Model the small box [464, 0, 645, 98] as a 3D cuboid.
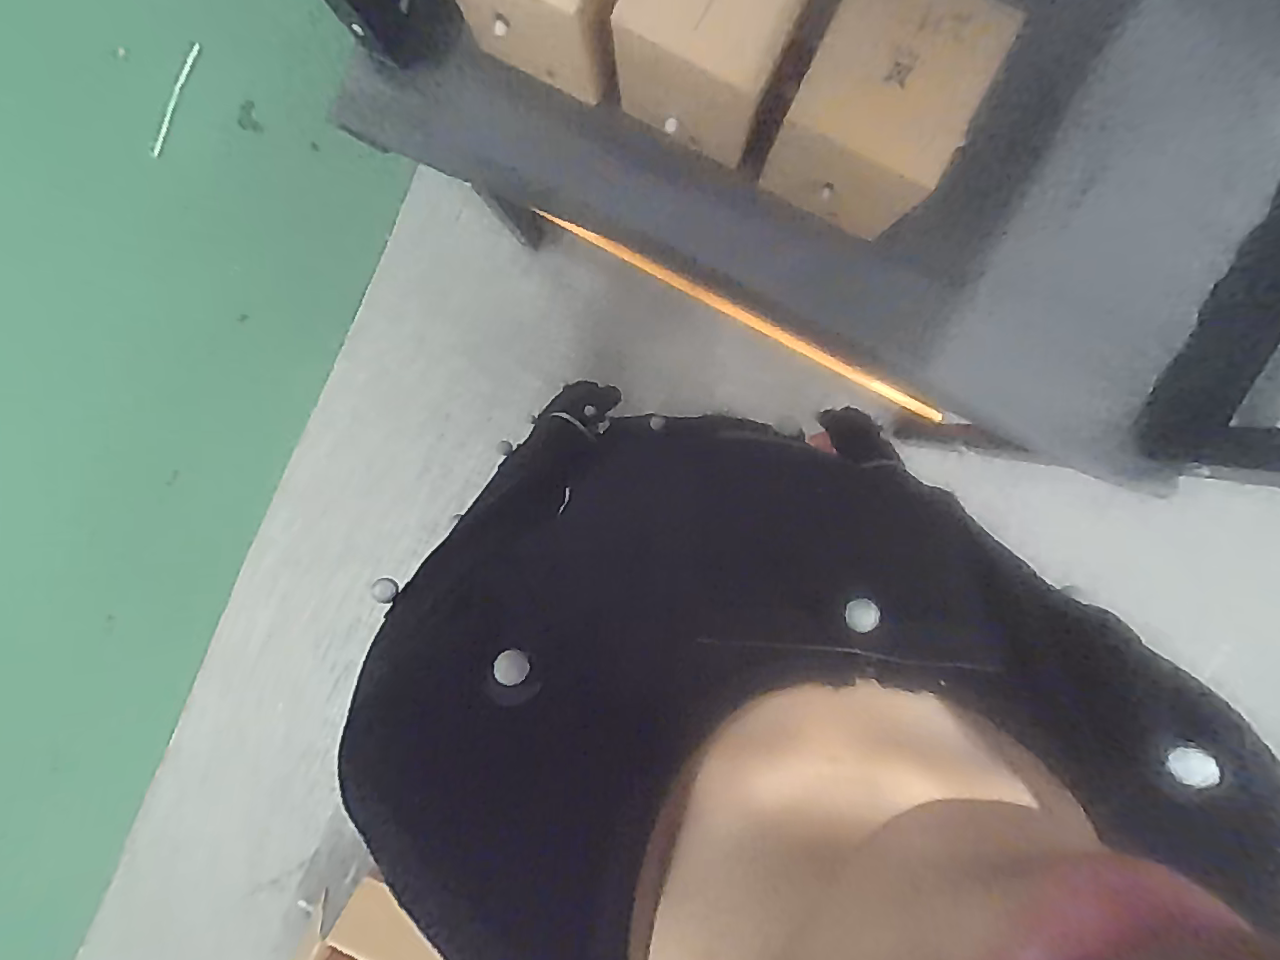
[{"bbox_3d":[-0.092,-0.577,0.598,0.168,0.176,0.179,26,97,-1],"label":"small box"}]
